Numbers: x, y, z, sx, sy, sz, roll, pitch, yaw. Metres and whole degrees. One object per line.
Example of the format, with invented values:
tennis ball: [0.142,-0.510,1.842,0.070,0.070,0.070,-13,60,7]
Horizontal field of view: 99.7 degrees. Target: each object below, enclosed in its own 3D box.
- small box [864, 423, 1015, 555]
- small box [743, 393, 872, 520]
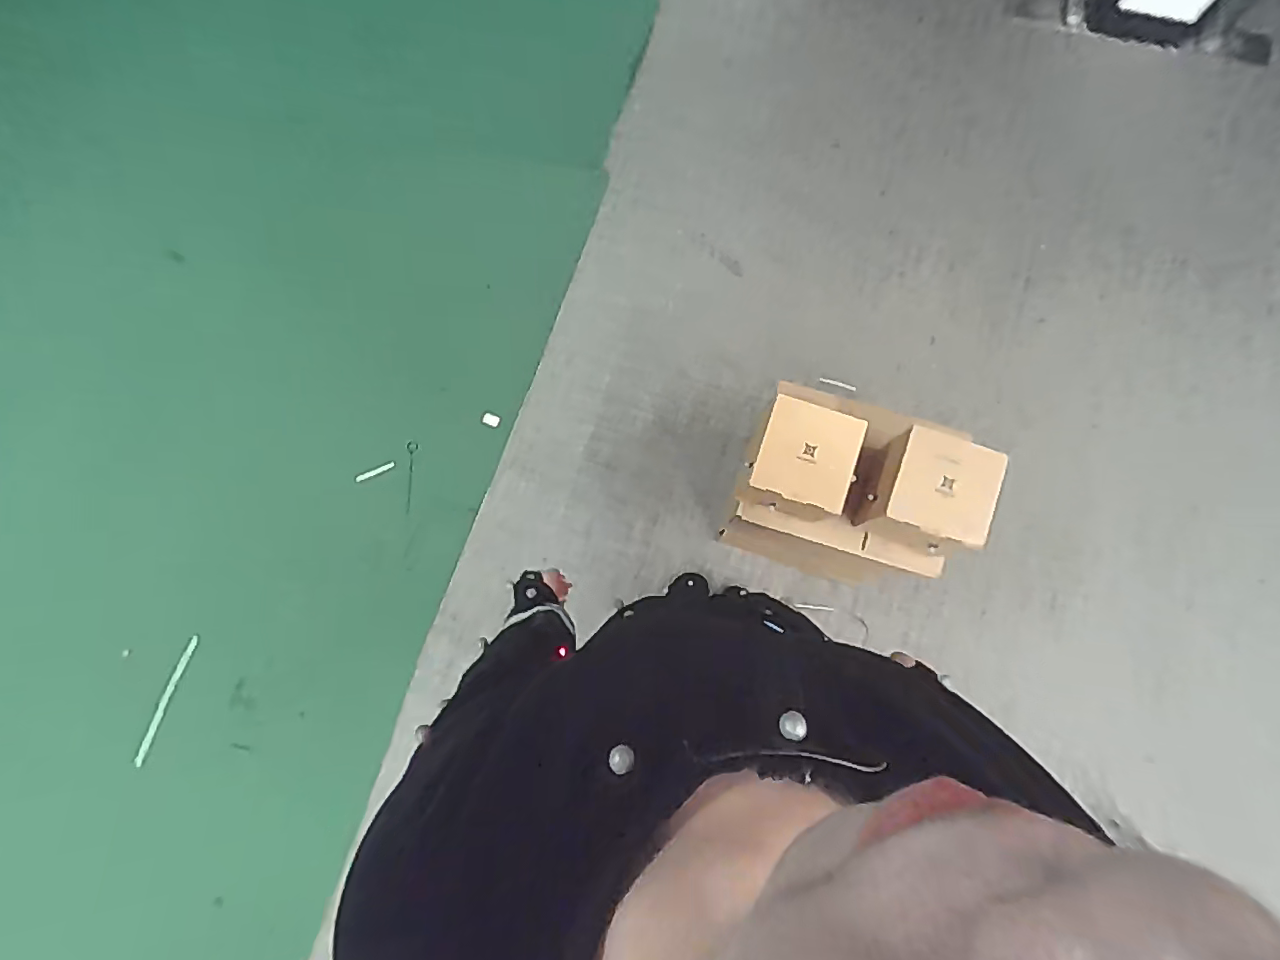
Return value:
small box: [0.529,0.026,0.980,0.168,0.176,0.179,21,80,8]
small box: [0.300,-0.035,1.006,0.168,0.176,0.179,19,83,5]
